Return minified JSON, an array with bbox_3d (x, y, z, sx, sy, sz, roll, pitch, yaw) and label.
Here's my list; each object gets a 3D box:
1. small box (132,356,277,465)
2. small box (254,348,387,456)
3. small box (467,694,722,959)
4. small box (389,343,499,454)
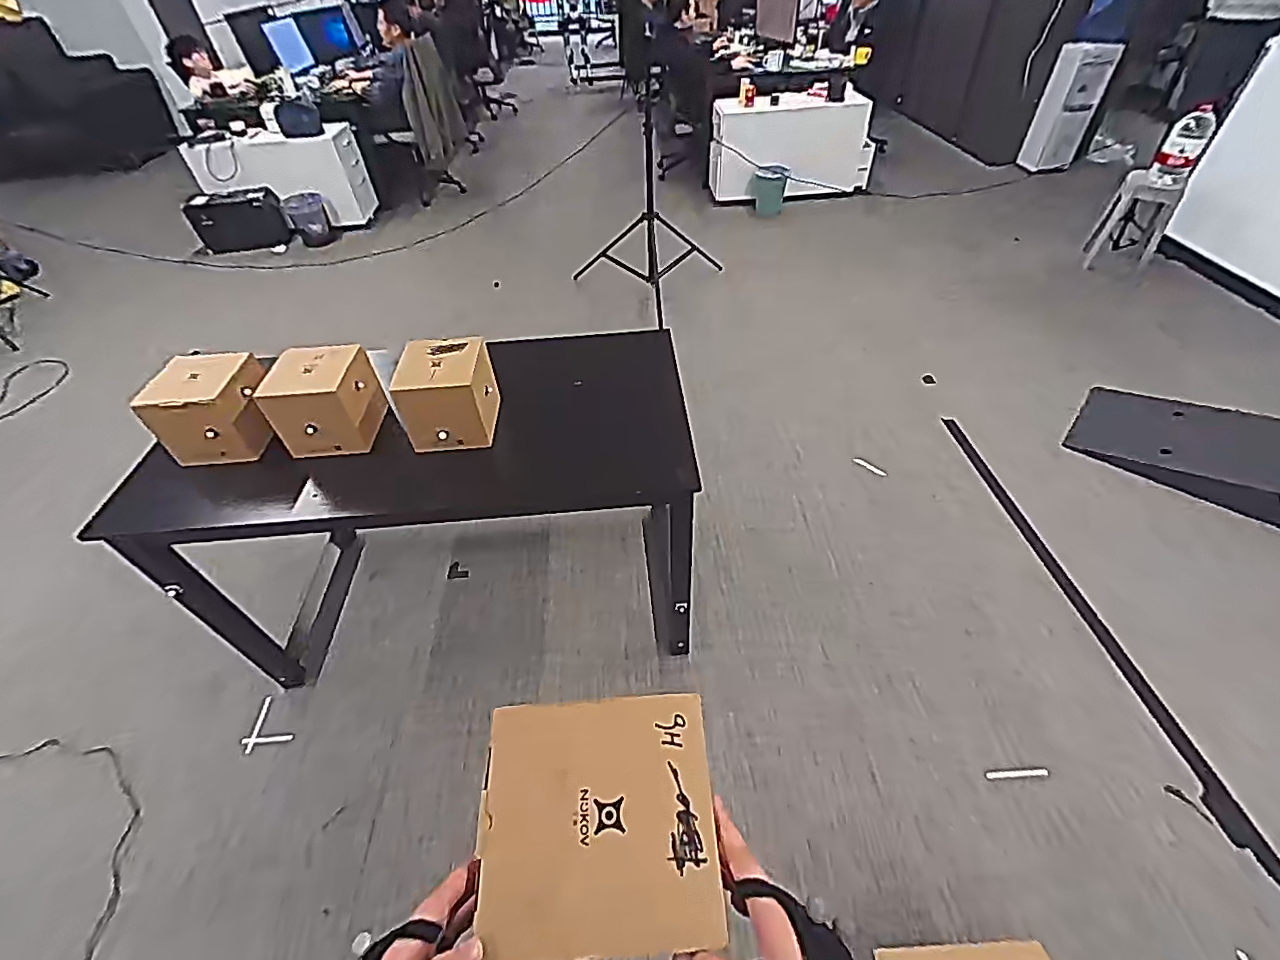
[{"bbox_3d":[-0.914,-0.145,1.169,0.168,0.176,0.179,-4,44,-2],"label":"small box"},{"bbox_3d":[-0.675,-0.164,1.171,0.168,0.176,0.179,-4,45,-1],"label":"small box"},{"bbox_3d":[-0.031,0.297,0.471,0.179,0.176,0.168,-4,55,-1],"label":"small box"},{"bbox_3d":[-0.410,-0.176,1.168,0.168,0.176,0.179,-4,46,-1],"label":"small box"}]
